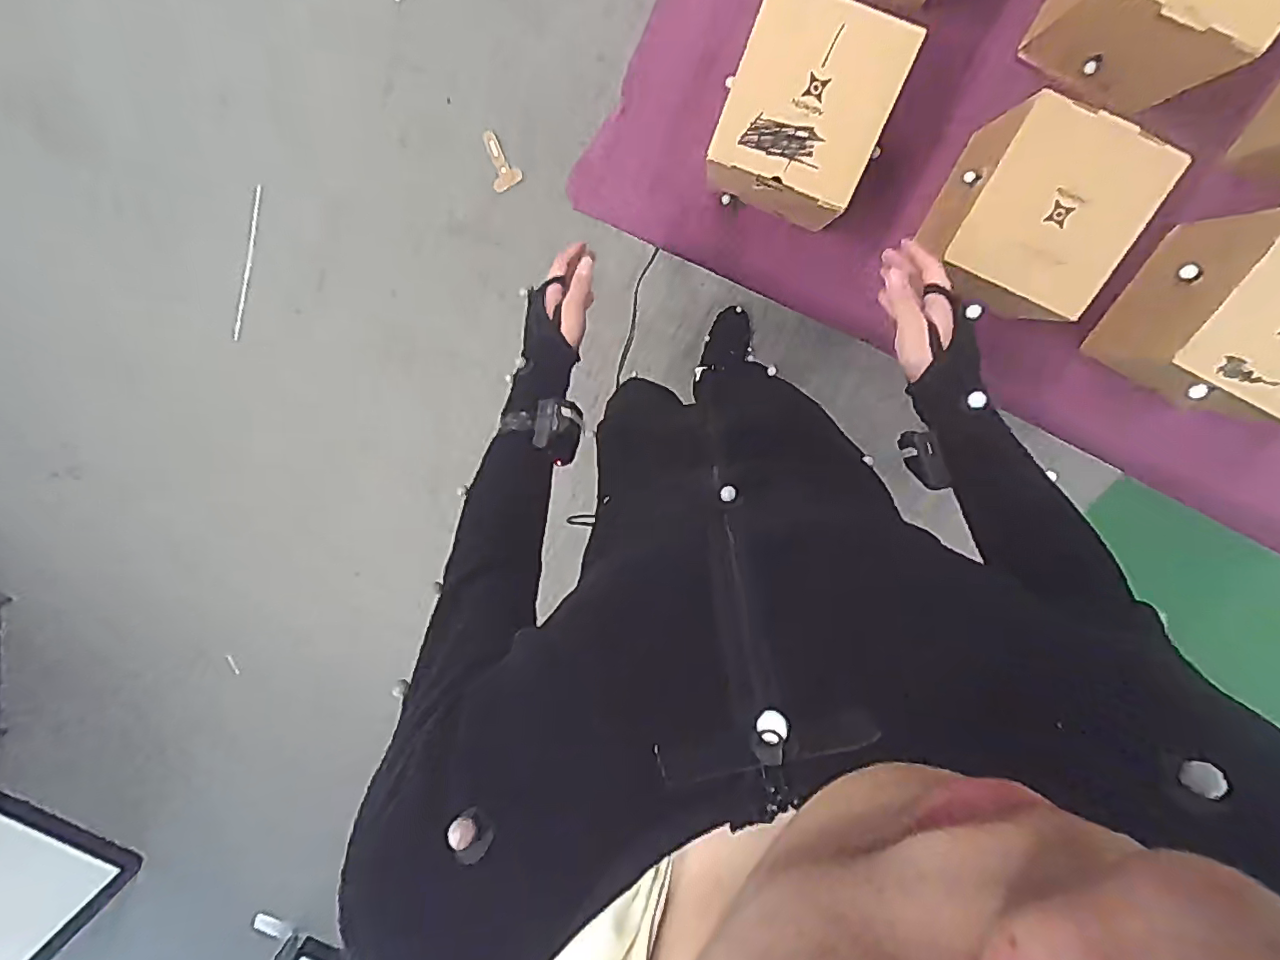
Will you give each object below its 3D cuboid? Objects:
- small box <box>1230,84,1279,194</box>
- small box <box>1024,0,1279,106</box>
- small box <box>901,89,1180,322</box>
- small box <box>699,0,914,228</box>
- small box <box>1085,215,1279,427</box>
[{"bbox_3d":[0.795,-0.396,0.549,0.168,0.176,0.179,27,111,0],"label":"small box"},{"bbox_3d":[0.546,-0.528,0.549,0.168,0.176,0.179,25,112,0],"label":"small box"},{"bbox_3d":[0.444,-0.307,0.641,0.168,0.176,0.179,26,111,1],"label":"small box"},{"bbox_3d":[0.182,-0.422,0.641,0.168,0.176,0.179,23,109,1],"label":"small box"},{"bbox_3d":[0.694,-0.188,0.638,0.168,0.176,0.179,27,110,0],"label":"small box"}]
